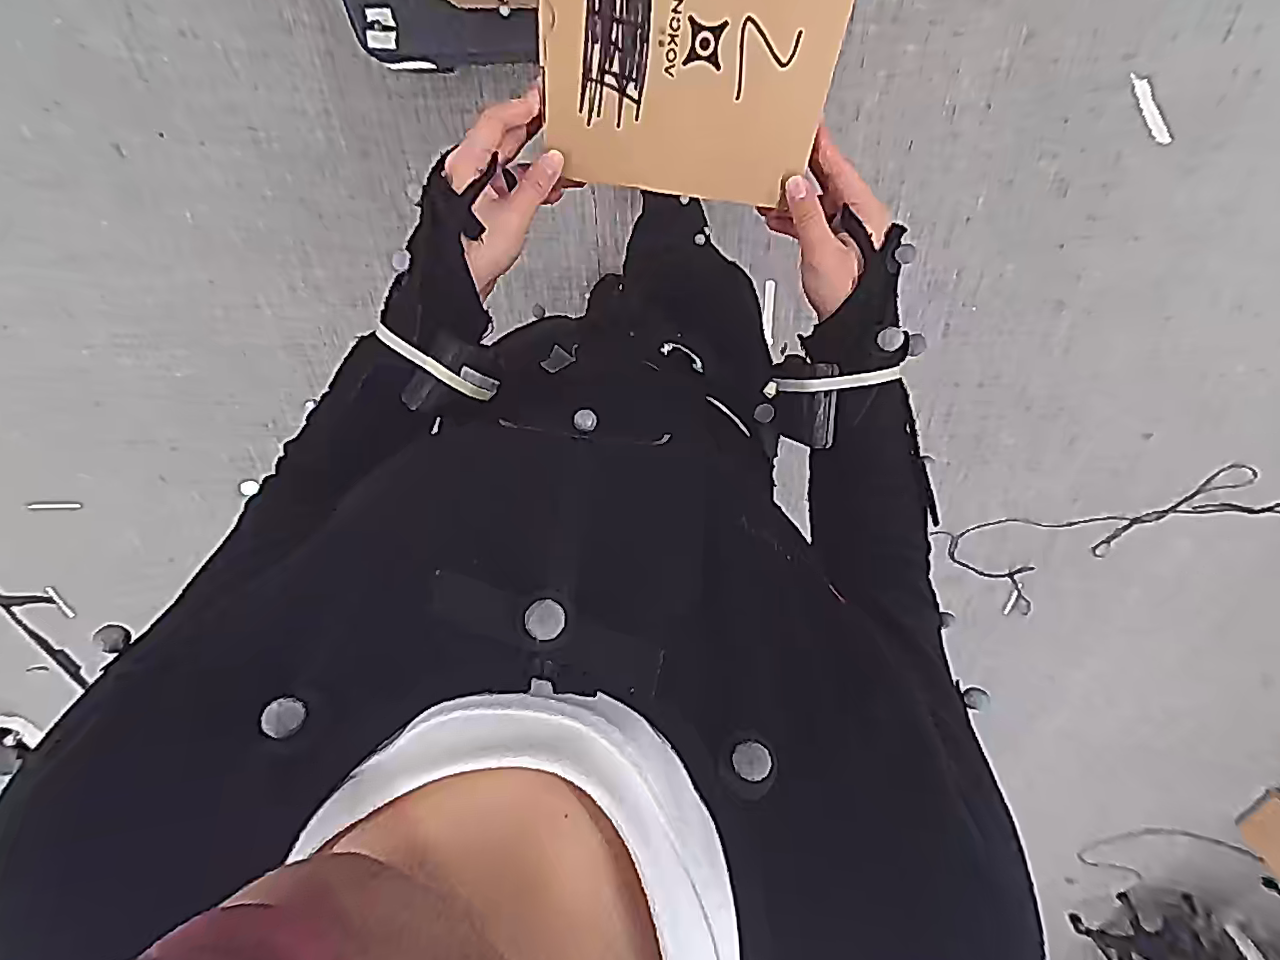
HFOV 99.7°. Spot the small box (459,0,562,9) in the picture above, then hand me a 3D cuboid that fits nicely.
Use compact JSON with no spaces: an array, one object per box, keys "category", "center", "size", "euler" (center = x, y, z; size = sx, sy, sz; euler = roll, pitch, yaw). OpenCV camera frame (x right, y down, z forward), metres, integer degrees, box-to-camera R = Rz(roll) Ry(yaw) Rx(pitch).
[{"category":"small box","center":[-0.195,-0.741,0.699],"size":[0.168,0.176,0.179],"euler":[1,124,0]}]

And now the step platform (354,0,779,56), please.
[{"category":"step platform","center":[-0.111,-0.852,0.834],"size":[0.684,0.204,0.286],"euler":[-1,123,1]}]
